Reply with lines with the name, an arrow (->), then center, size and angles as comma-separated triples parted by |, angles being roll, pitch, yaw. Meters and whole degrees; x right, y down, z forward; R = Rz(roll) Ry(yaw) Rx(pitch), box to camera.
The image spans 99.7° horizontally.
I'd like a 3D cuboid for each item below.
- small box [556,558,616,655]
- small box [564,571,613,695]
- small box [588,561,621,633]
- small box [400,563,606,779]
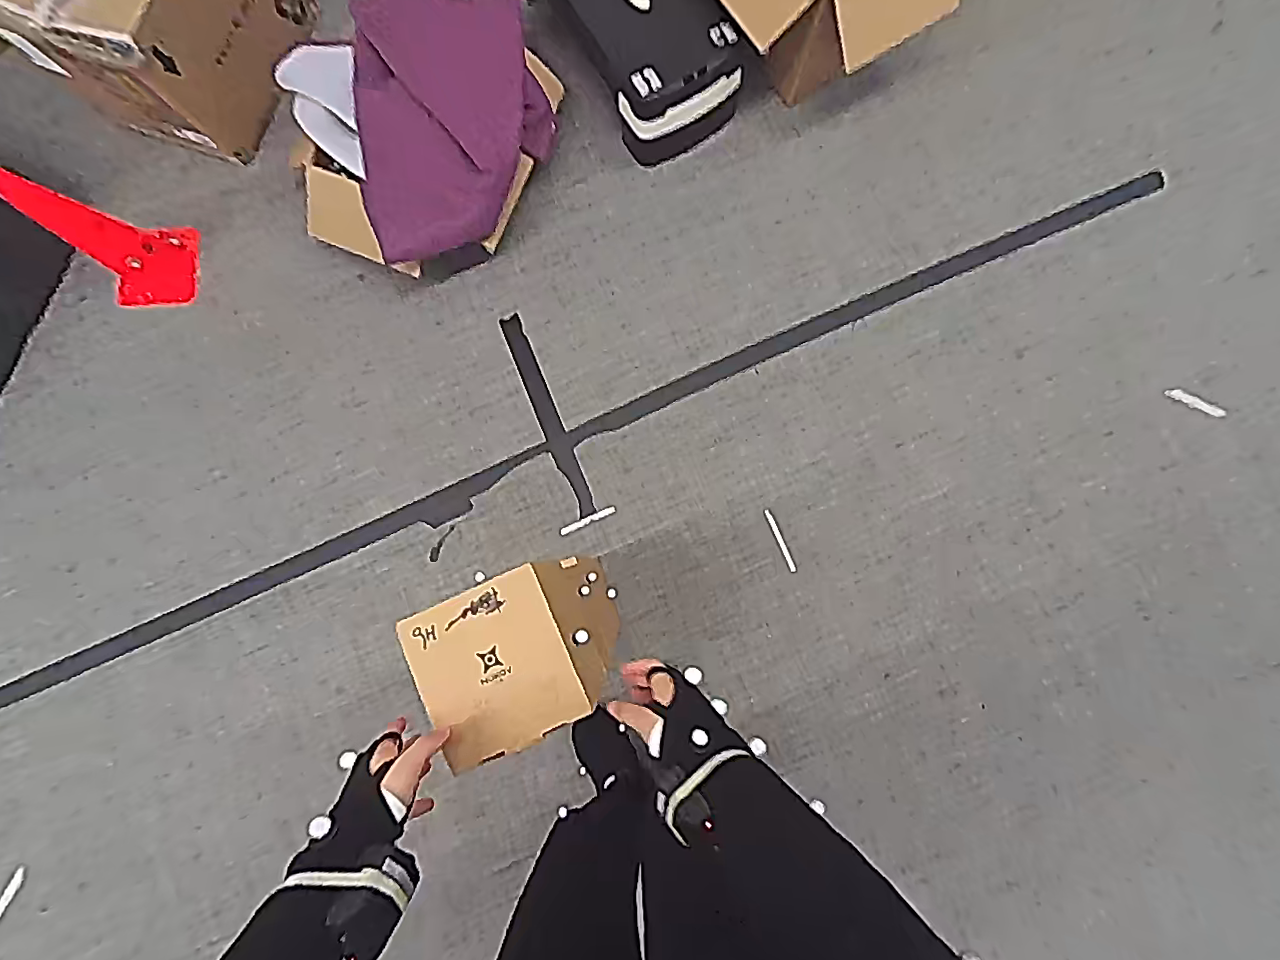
small box -> -0.150, 0.251, 0.984 | 0.168, 0.176, 0.179 | -20, 83, -1
small box -> -0.148, 0.244, 0.821 | 0.168, 0.176, 0.179 | -20, 84, 0
small box -> -0.150, 0.278, 1.146 | 0.179, 0.176, 0.168 | -20, 83, -1
small box -> -0.150, 0.214, 0.659 | 0.168, 0.176, 0.179 | -25, 84, -1
